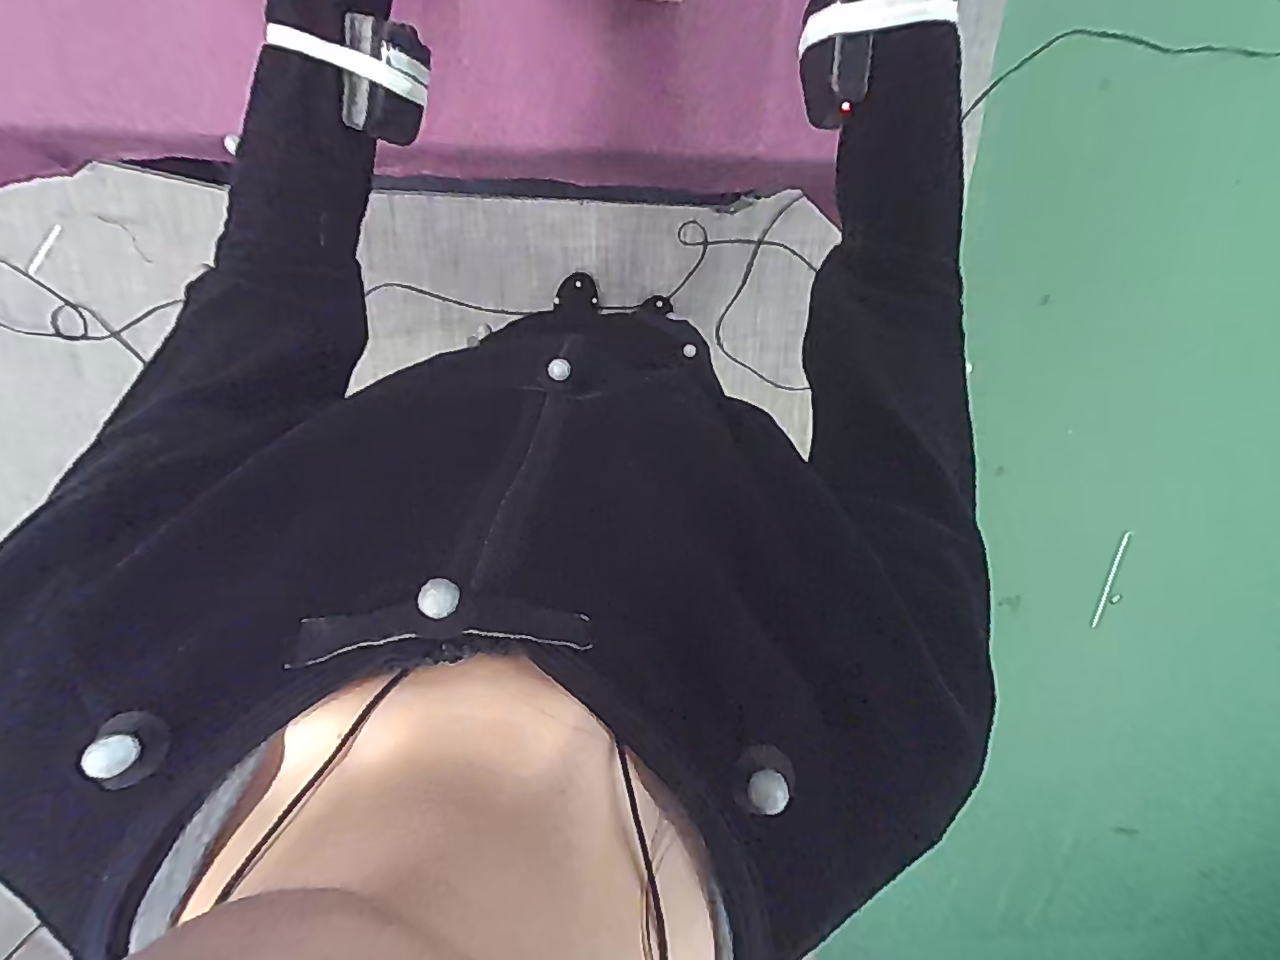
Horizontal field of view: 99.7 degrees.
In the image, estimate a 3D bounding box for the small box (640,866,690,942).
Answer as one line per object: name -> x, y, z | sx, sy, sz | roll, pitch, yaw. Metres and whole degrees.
small box -> 0.092, 1.643, 2.101 | 0.179, 0.176, 0.168 | -2, 111, -5
